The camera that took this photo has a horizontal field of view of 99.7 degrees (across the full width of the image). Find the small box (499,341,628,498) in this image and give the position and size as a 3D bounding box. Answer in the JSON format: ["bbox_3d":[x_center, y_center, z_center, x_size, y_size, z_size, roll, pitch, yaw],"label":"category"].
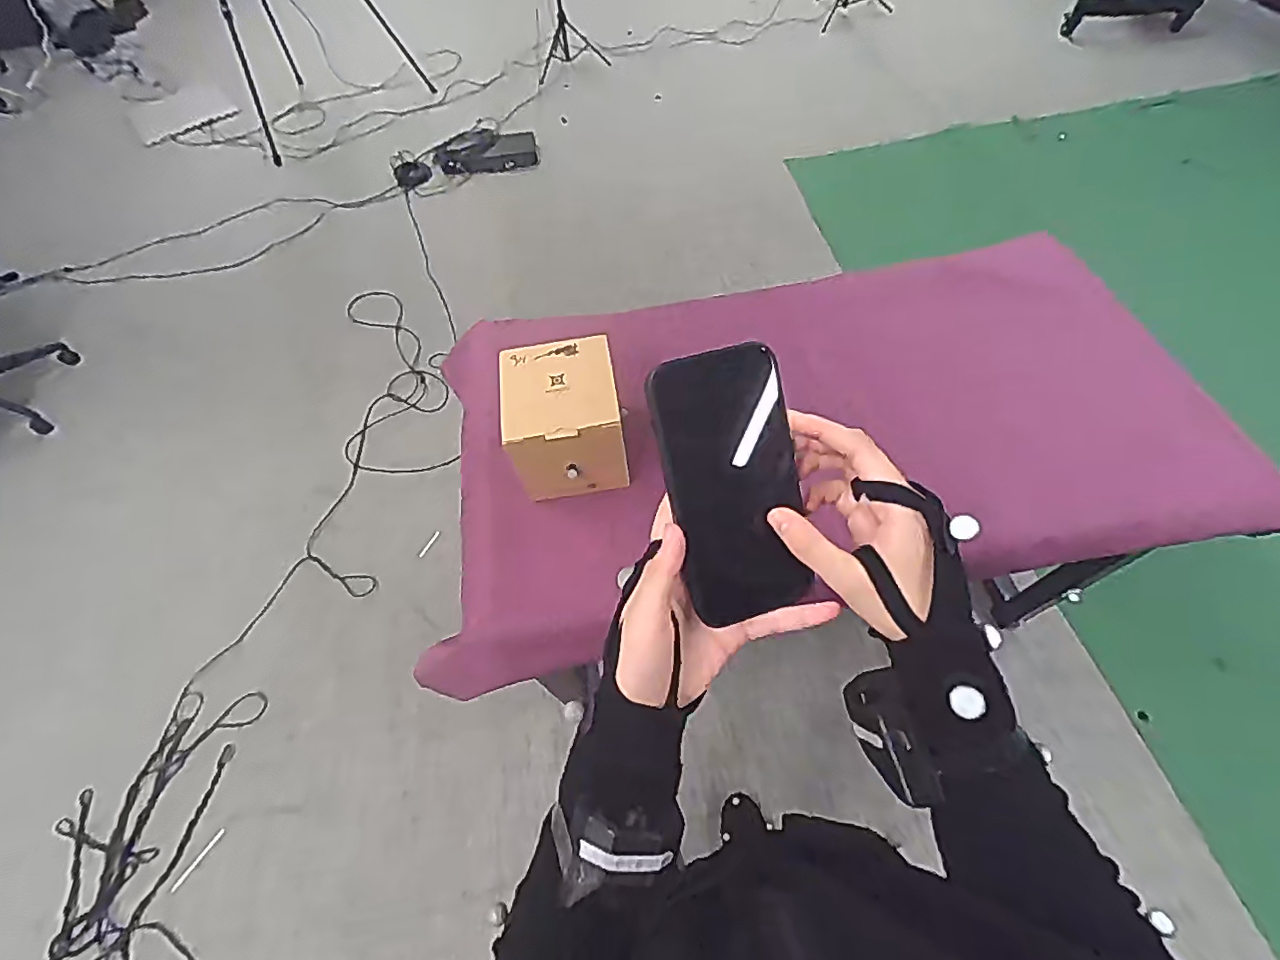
[{"bbox_3d":[-0.115,-0.085,0.844,0.168,0.176,0.179,-9,58,-1],"label":"small box"}]
